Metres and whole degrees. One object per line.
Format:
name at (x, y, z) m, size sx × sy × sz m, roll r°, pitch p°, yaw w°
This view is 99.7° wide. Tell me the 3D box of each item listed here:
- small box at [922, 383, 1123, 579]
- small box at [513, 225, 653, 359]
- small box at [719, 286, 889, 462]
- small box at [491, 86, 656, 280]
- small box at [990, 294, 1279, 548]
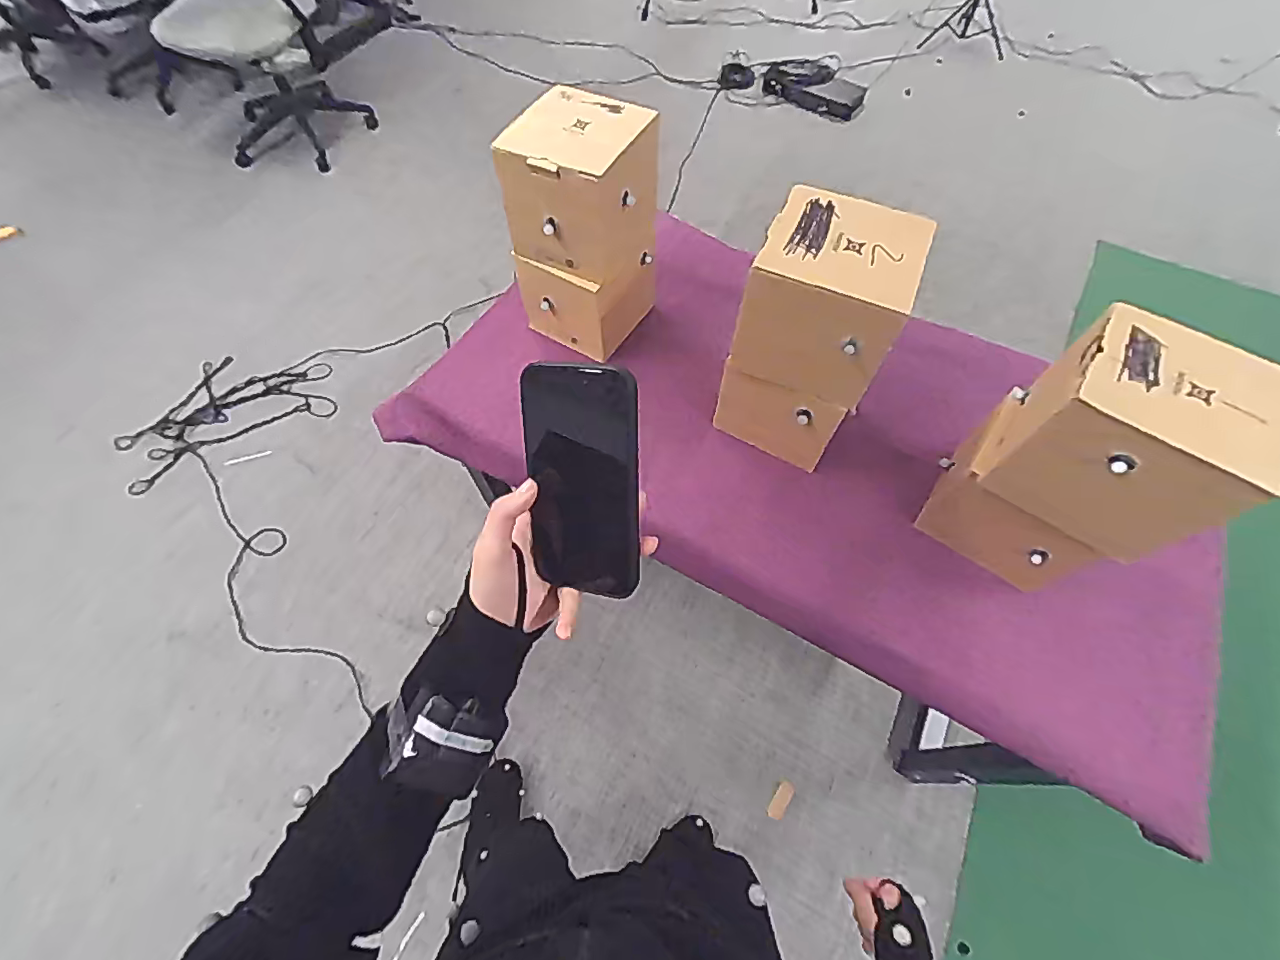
small box at (0.522, 0.011, 0.724) m, size 0.179 × 0.176 × 0.168 m, roll 33°, pitch 65°, yaw 18°
small box at (-0.087, -0.340, 0.930) m, size 0.168 × 0.176 × 0.179 m, roll 28°, pitch 64°, yaw 15°
small box at (0.237, -0.152, 0.819) m, size 0.179 × 0.176 × 0.168 m, roll 27°, pitch 64°, yaw 15°
small box at (-0.084, -0.428, 0.791) m, size 0.168 × 0.176 × 0.179 m, roll 24°, pitch 64°, yaw 13°
small box at (0.520, -0.055, 0.574) m, size 0.179 × 0.176 × 0.168 m, roll 33°, pitch 66°, yaw 17°
